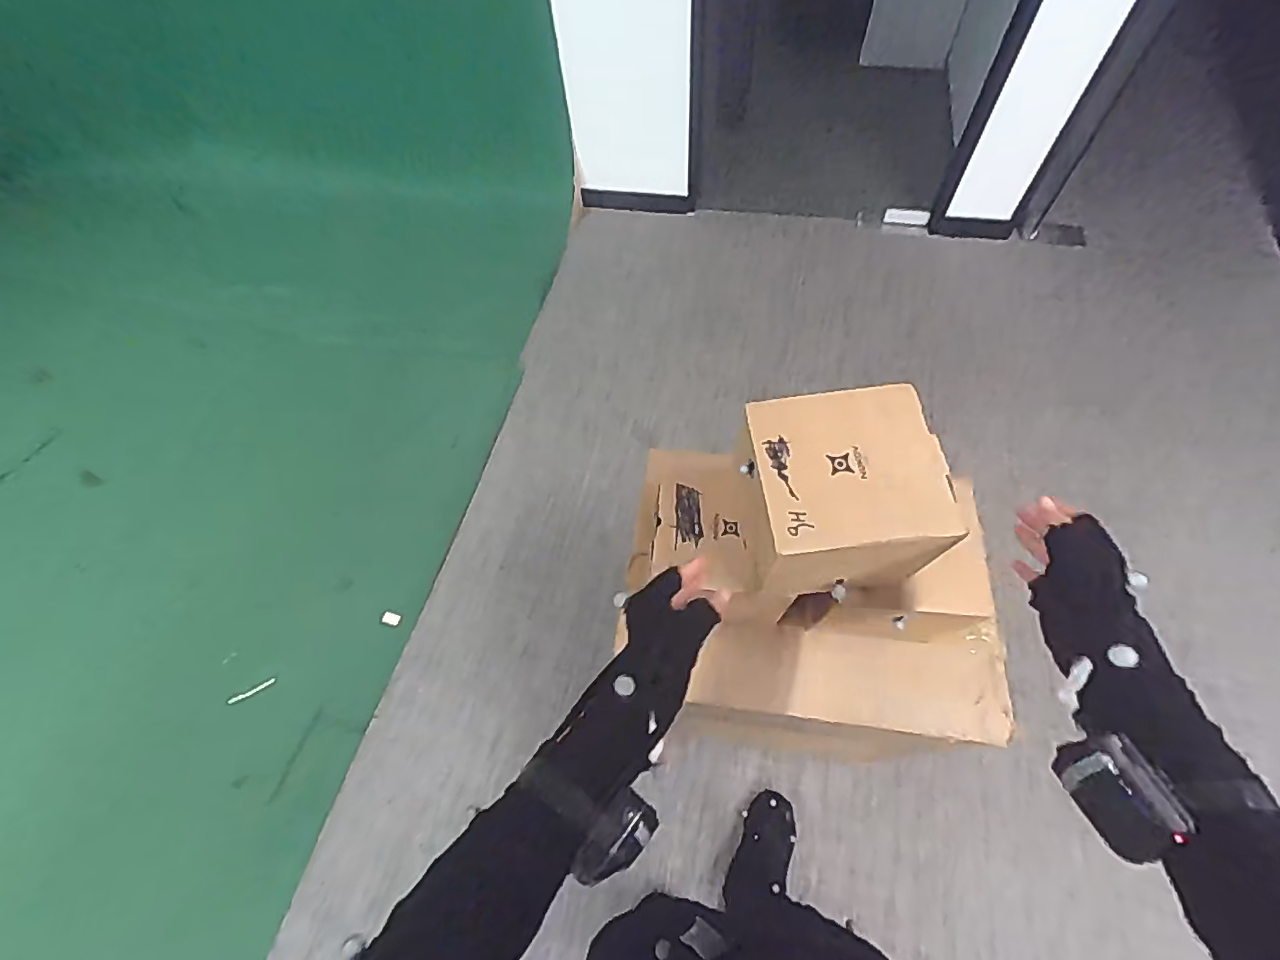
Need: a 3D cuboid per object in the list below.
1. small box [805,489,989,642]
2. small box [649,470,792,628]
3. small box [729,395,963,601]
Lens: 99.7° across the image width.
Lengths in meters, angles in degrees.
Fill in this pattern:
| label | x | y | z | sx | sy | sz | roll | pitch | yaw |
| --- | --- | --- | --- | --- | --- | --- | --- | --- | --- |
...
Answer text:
| label | x | y | z | sx | sy | sz | roll | pitch | yaw |
| --- | --- | --- | --- | --- | --- | --- | --- | --- | --- |
| small box | 0.322 | 0.116 | 0.725 | 0.179 | 0.176 | 0.168 | 3 | 64 | 4 |
| small box | 0.110 | 0.101 | 0.747 | 0.179 | 0.176 | 0.168 | 4 | 64 | 6 |
| small box | 0.204 | 0.028 | 0.595 | 0.179 | 0.176 | 0.168 | -6 | 63 | 0 |
